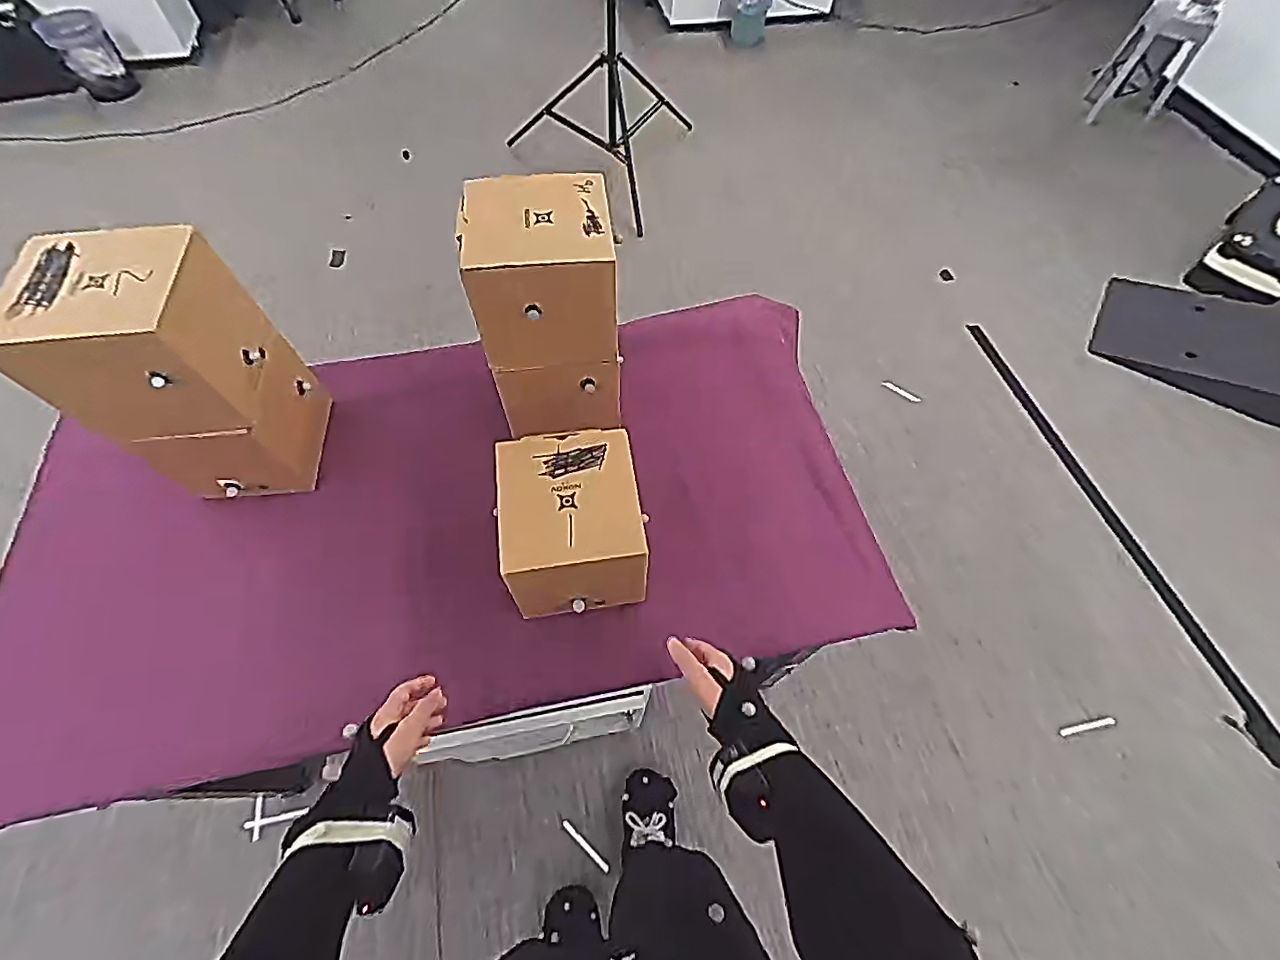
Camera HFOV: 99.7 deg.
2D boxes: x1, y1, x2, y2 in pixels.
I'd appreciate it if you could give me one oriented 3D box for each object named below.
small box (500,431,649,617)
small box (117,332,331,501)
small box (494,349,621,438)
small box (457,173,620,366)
[{"bbox_3d":[-0.084,0.061,0.705,0.168,0.176,0.179,-7,60,-5],"label":"small box"},{"bbox_3d":[-0.575,-0.087,0.780,0.168,0.176,0.179,-6,63,-3],"label":"small box"},{"bbox_3d":[-0.125,-0.183,0.845,0.179,0.176,0.168,-7,61,-5],"label":"small box"},{"bbox_3d":[-0.123,-0.265,0.703,0.179,0.176,0.168,-6,62,-4],"label":"small box"}]
